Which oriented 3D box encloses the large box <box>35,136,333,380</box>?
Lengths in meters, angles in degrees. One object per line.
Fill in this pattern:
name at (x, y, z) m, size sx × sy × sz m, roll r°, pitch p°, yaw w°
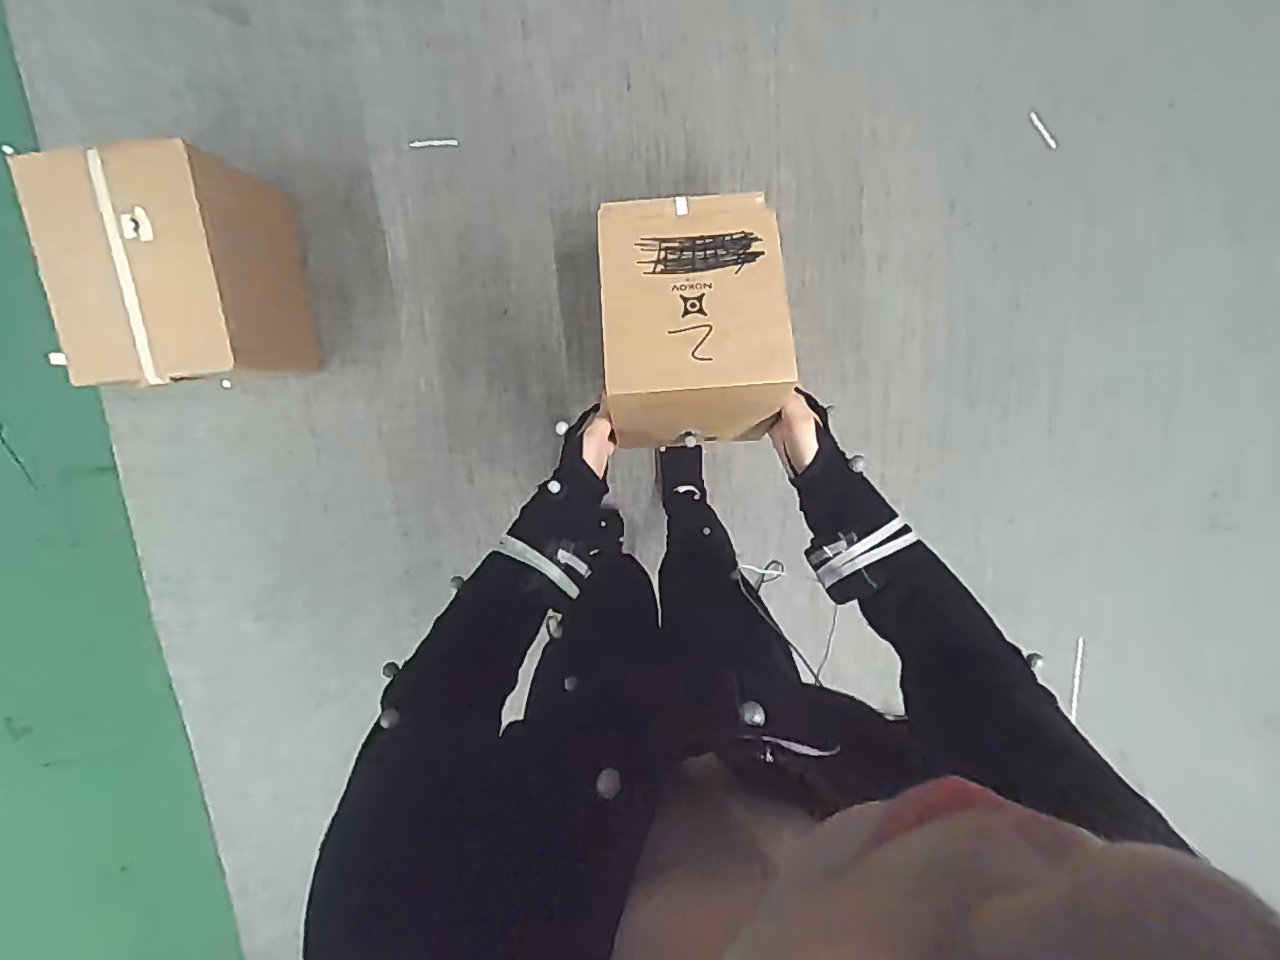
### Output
large box at (-0.922, -0.434, 1.154) m, size 0.320 × 0.320 × 0.408 m, roll -6°, pitch 100°, yaw 0°
